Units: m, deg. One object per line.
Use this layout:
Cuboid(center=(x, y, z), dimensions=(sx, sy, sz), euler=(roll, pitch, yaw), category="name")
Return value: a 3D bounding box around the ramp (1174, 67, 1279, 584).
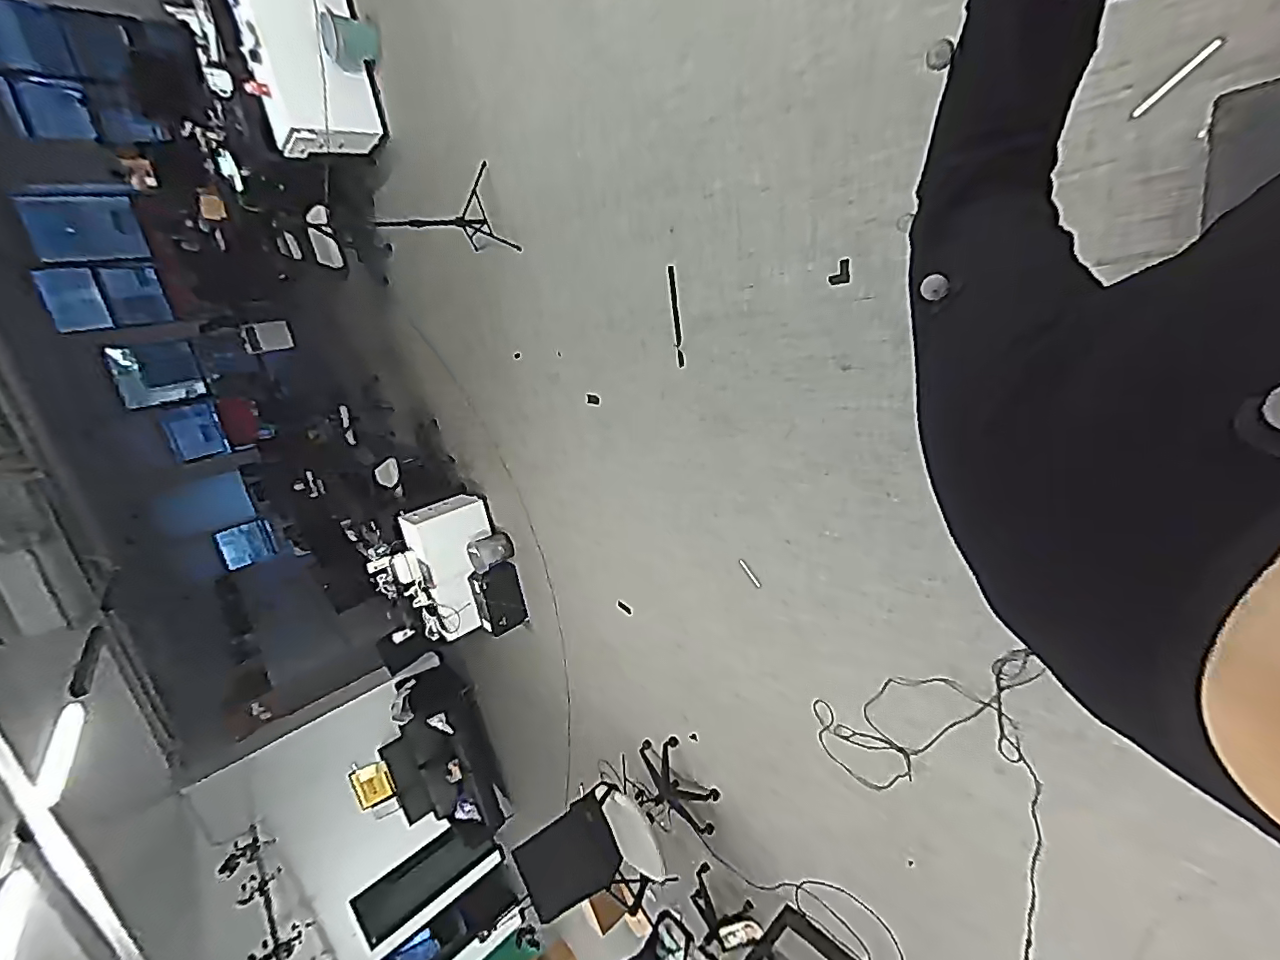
Cuboid(center=(1.281, -0.201, 0.911), dimensions=(0.509, 0.206, 0.991), euler=(8, 115, 49), category="ramp")
